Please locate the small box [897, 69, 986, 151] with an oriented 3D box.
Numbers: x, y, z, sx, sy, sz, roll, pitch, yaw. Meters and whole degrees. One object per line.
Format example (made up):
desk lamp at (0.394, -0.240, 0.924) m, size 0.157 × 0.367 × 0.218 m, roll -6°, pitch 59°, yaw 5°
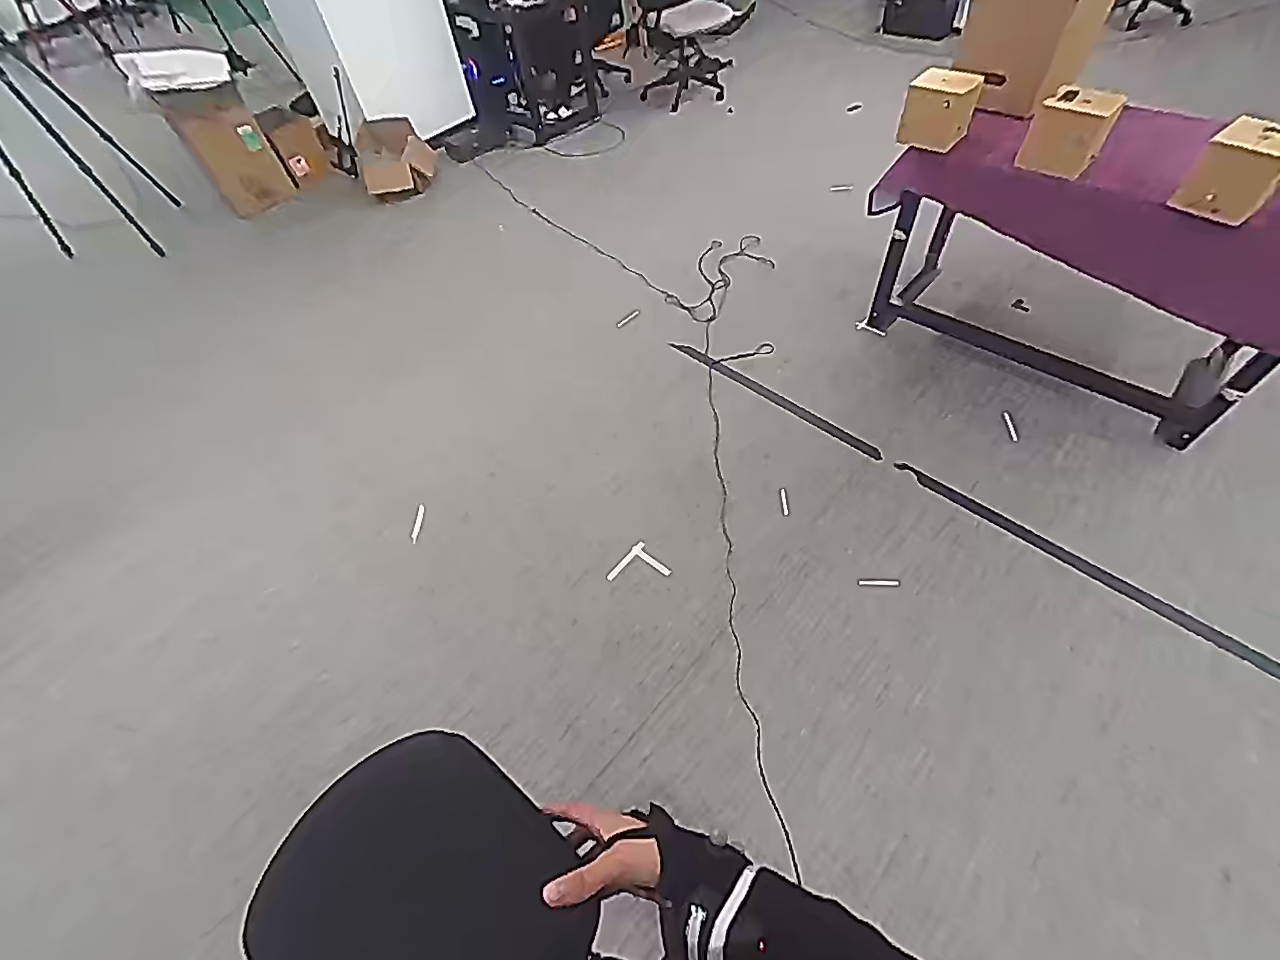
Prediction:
small box at (0.967, -1.195, 1.750) m, size 0.179 × 0.176 × 0.168 m, roll 34°, pitch 63°, yaw 26°
